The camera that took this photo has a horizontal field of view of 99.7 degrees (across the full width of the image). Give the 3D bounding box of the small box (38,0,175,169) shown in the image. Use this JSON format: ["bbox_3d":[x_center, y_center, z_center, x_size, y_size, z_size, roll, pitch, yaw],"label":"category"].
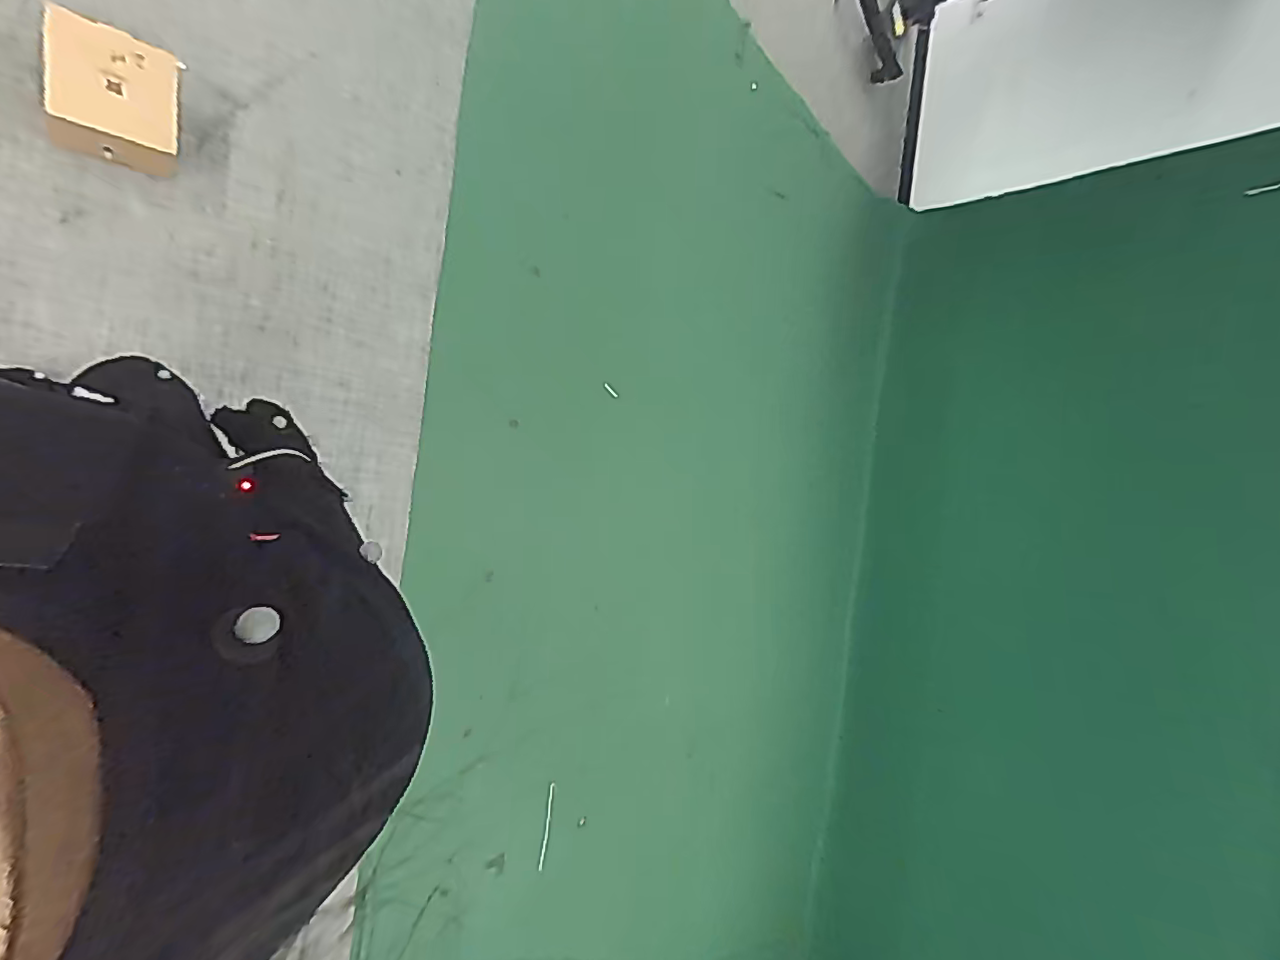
[{"bbox_3d":[-0.958,-0.695,0.973,0.168,0.176,0.179,0,96,-47],"label":"small box"}]
